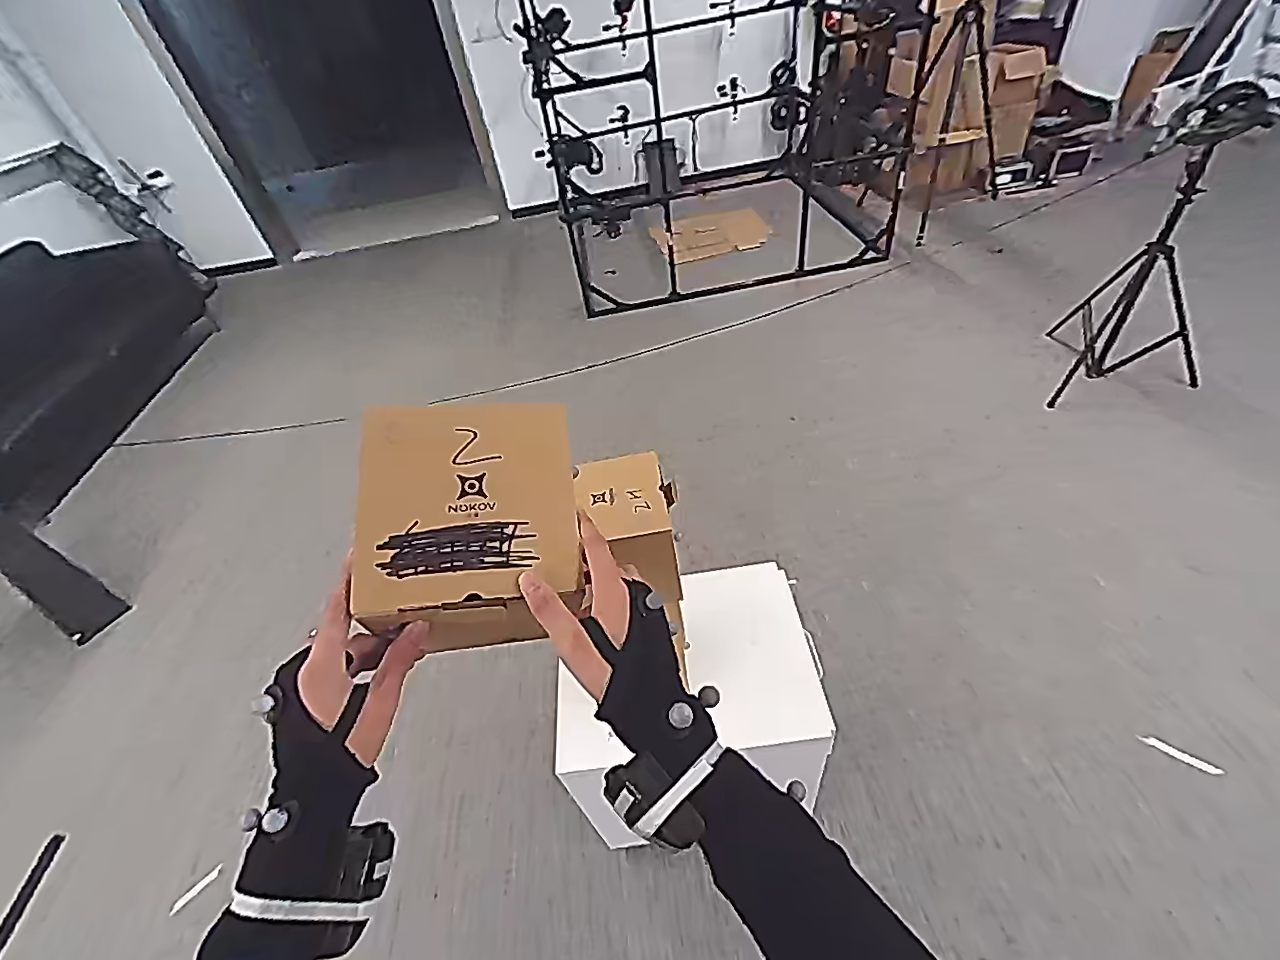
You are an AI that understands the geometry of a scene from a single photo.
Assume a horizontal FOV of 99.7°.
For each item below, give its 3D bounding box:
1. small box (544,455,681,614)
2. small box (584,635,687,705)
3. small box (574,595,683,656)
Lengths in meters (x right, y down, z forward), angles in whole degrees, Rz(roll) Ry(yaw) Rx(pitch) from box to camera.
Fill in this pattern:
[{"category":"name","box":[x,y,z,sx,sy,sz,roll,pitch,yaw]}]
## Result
[{"category":"small box","box":[-0.039,0.088,0.835,0.179,0.176,0.168,-9,43,1]},{"category":"small box","box":[-0.010,0.321,1.062,0.179,0.176,0.168,-9,43,0]},{"category":"small box","box":[-0.021,0.194,0.961,0.168,0.176,0.179,-9,42,1]}]
